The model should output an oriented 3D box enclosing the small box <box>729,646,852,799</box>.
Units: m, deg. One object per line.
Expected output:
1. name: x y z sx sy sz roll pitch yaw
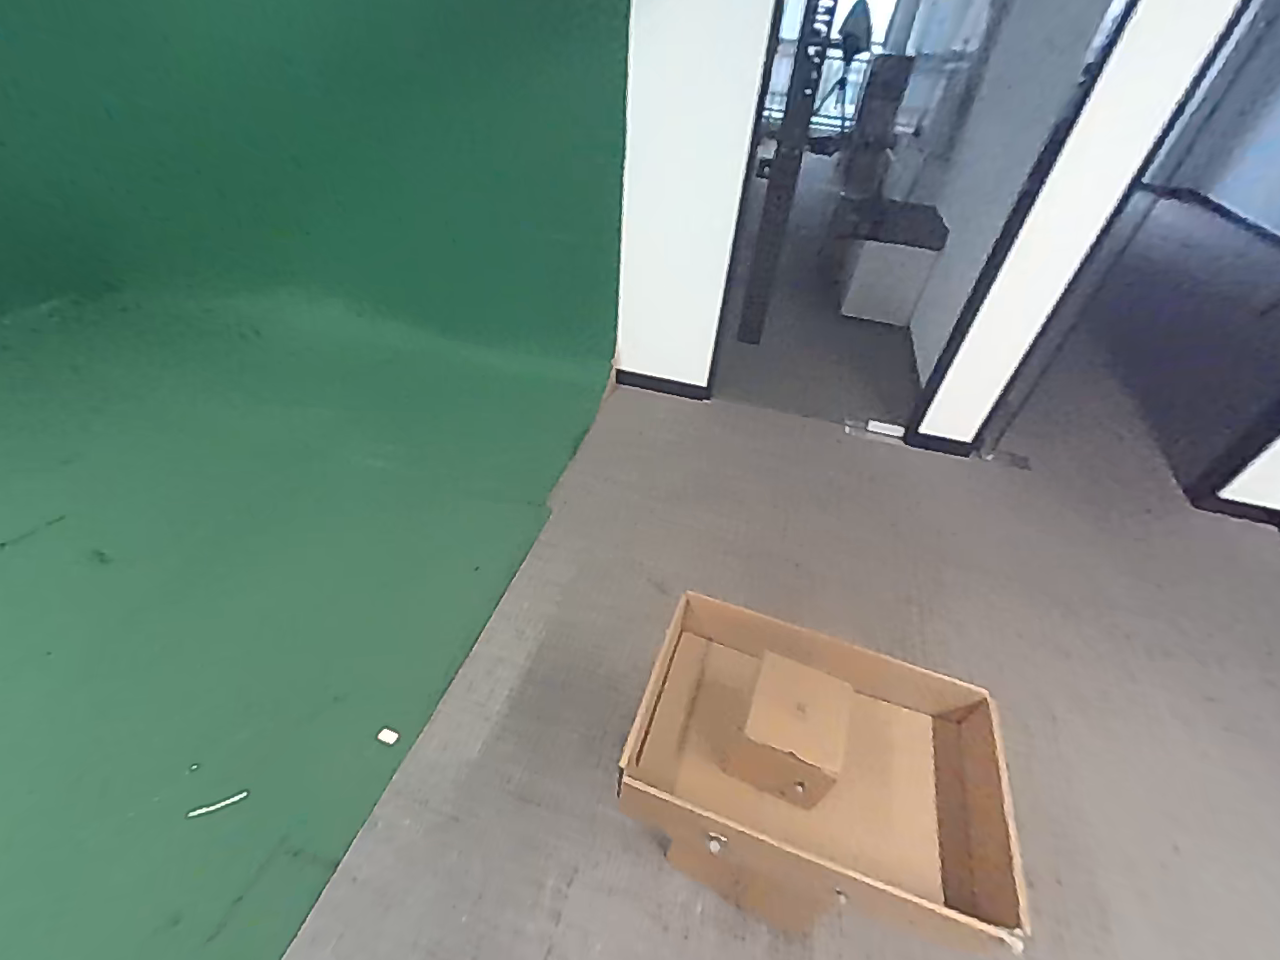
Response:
1. small box: 0.272 0.448 0.997 0.168 0.176 0.179 20 43 11
